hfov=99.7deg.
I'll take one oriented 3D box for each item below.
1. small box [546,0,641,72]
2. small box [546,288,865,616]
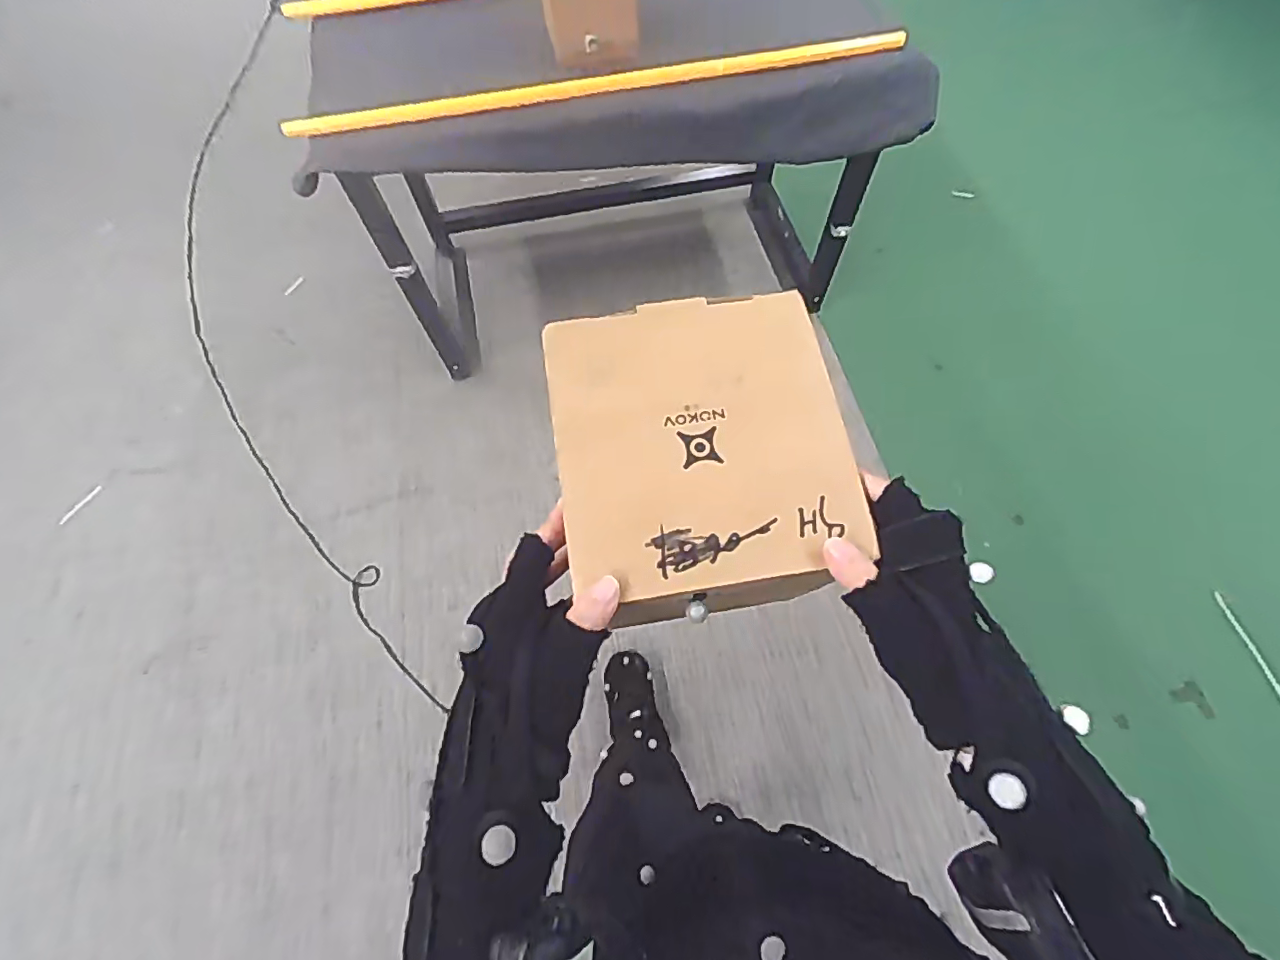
[{"bbox_3d":[-0.098,-0.947,1.060,0.168,0.176,0.179,-14,67,-4],"label":"small box"},{"bbox_3d":[0.031,-0.007,0.395,0.168,0.176,0.179,-9,71,-2],"label":"small box"}]
